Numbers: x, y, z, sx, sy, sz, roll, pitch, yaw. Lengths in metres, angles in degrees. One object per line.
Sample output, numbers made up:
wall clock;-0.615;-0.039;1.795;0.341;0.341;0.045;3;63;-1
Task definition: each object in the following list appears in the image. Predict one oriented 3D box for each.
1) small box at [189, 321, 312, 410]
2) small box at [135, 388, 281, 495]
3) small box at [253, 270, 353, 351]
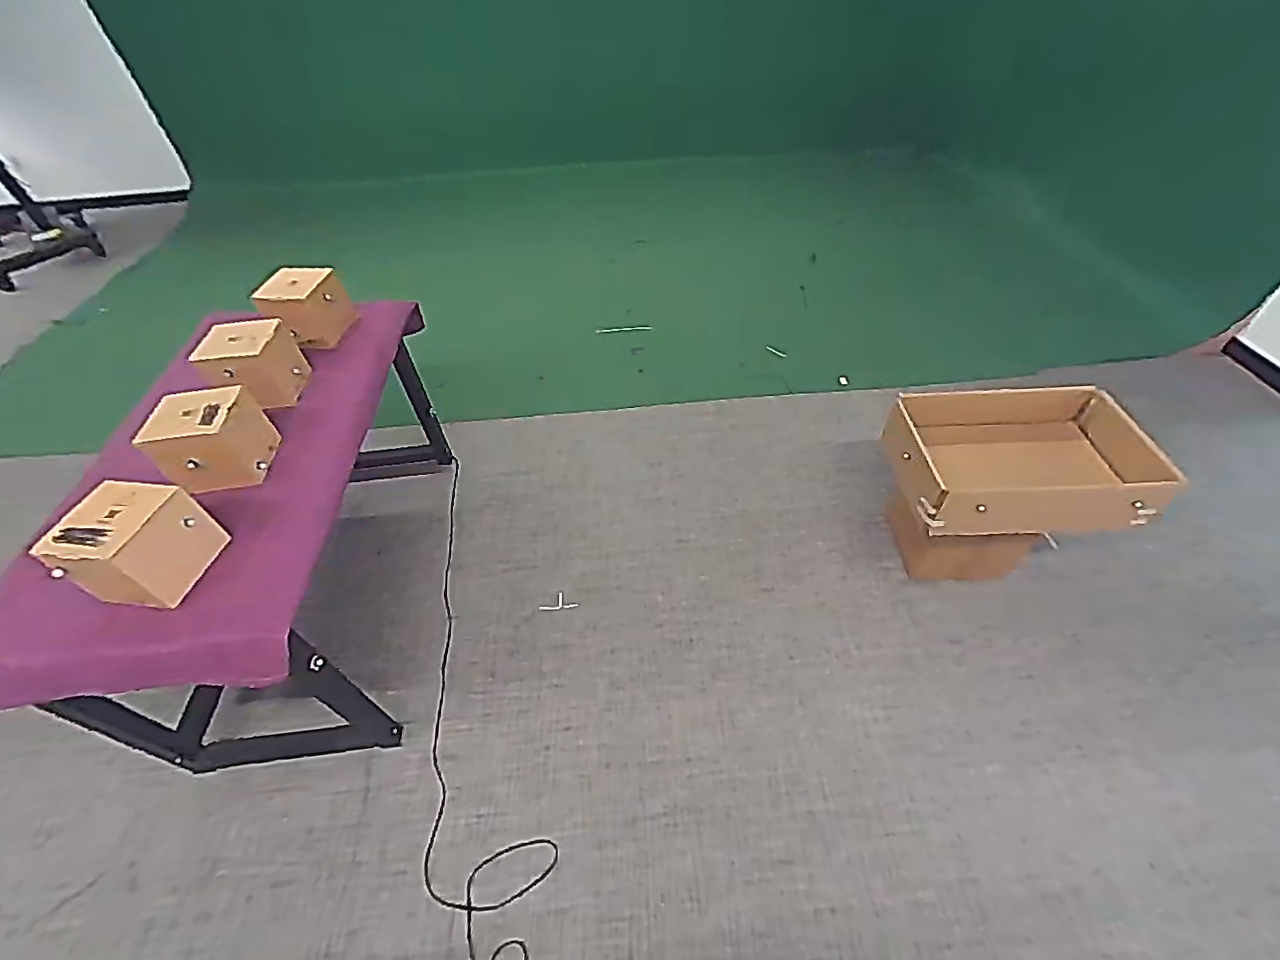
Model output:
small box;-1.017;-0.296;1.430;0.179;0.176;0.168;-6;49;-2
small box;-0.972;-0.085;1.240;0.179;0.176;0.168;-9;48;-3
small box;-0.994;-0.509;1.619;0.168;0.176;0.179;2;50;5
